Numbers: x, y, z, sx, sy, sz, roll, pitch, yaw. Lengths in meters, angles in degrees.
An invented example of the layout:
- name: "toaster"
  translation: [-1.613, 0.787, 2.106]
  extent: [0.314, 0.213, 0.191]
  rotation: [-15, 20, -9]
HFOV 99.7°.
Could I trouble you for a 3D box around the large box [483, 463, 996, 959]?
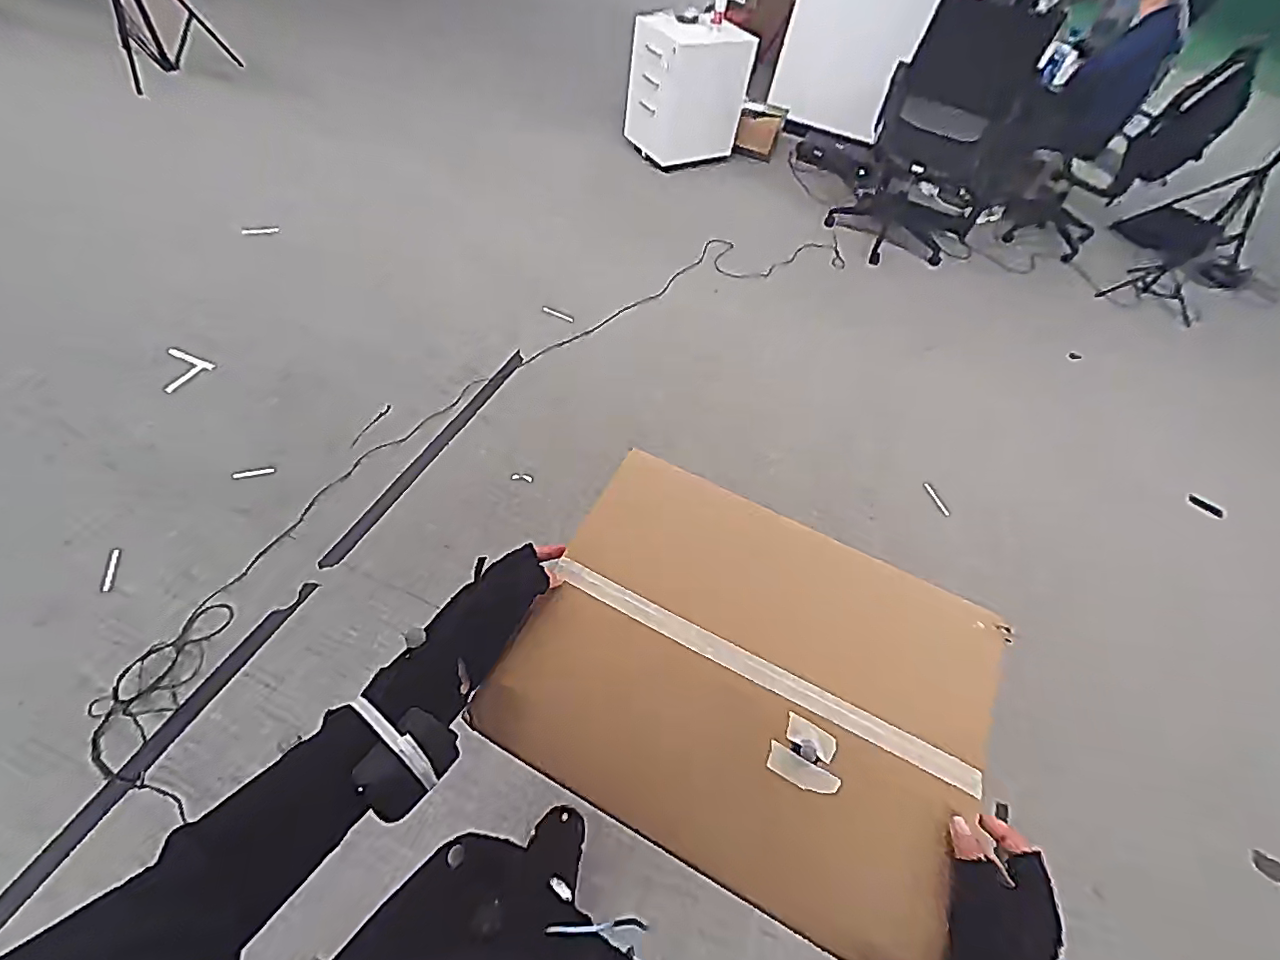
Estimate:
- name: "large box"
  translation: [0.097, 0.248, 0.626]
  extent: [0.408, 0.320, 0.320]
  rotation: [26, 63, 12]
